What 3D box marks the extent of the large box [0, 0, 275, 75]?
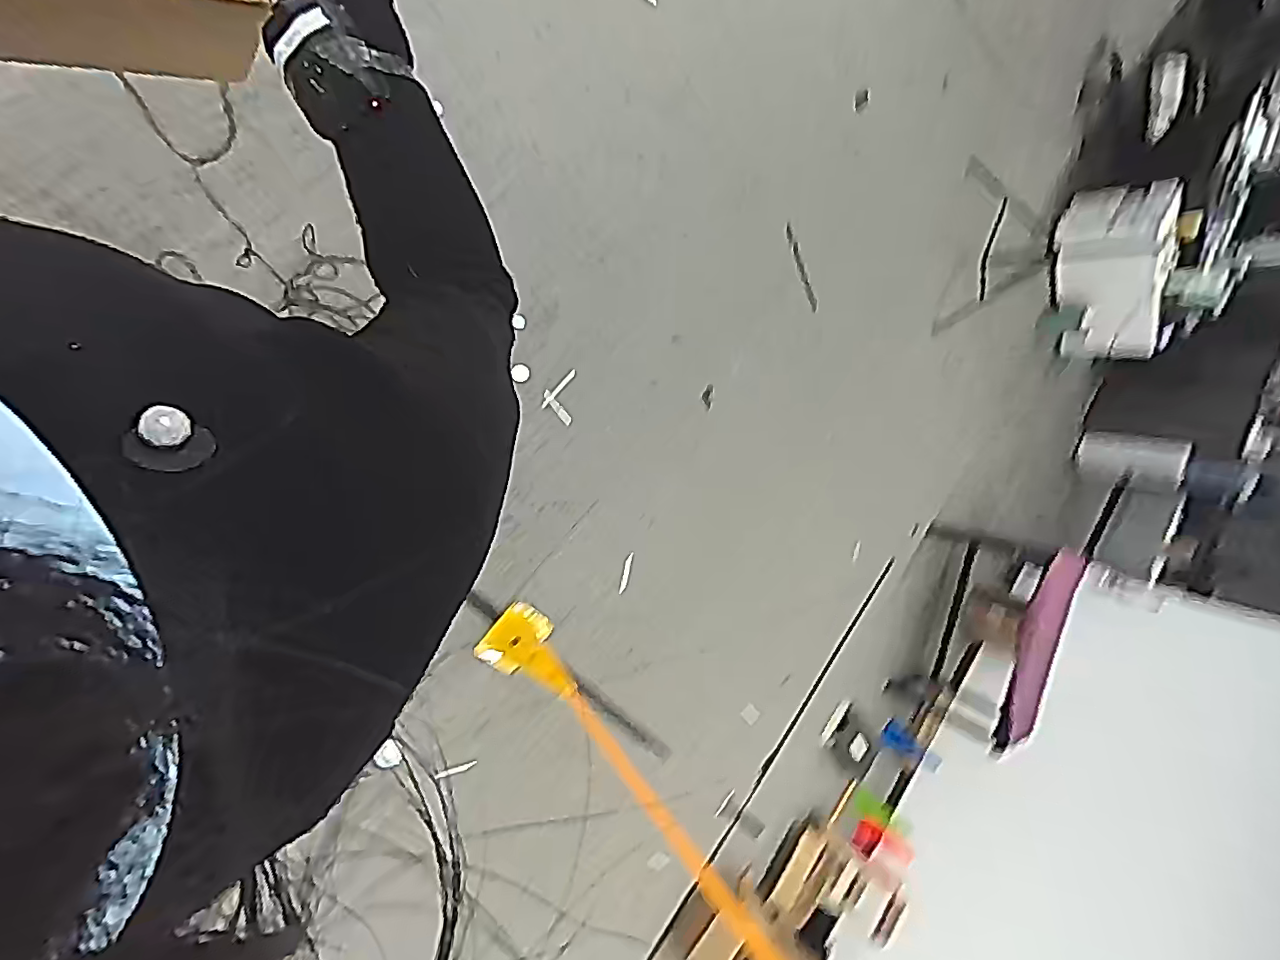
[{"bbox_3d":[-0.505,-0.467,0.320,0.408,0.320,0.320,-18,122,-32],"label":"large box"}]
